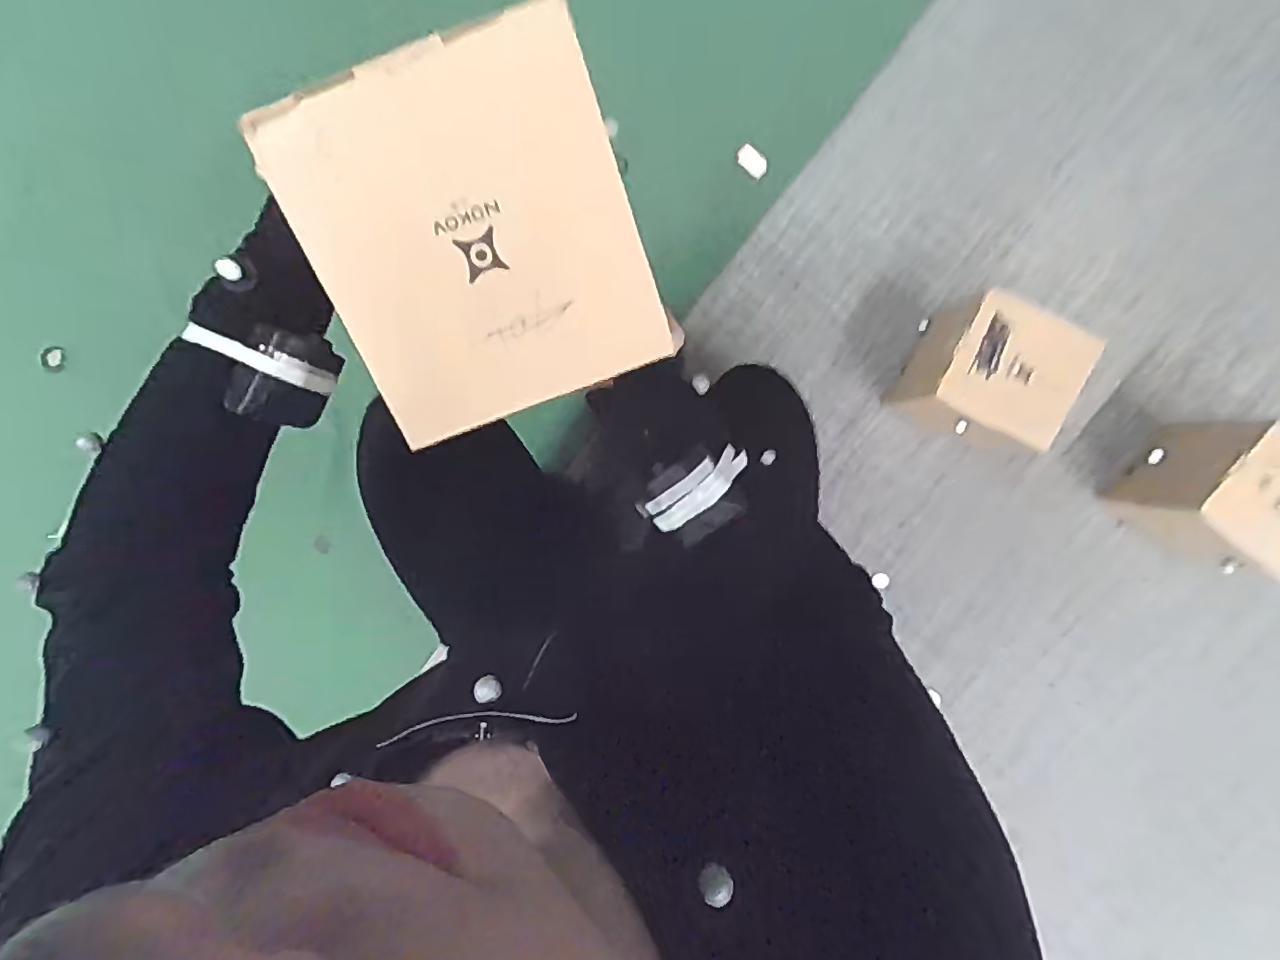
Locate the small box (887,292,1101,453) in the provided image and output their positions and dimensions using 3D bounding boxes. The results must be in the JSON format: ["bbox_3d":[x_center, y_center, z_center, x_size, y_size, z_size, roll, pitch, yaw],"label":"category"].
[{"bbox_3d":[0.508,-0.149,0.808,0.179,0.176,0.168,26,94,-1],"label":"small box"}]

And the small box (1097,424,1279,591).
[{"bbox_3d":[0.862,0.032,0.809,0.179,0.176,0.168,39,93,-1],"label":"small box"}]

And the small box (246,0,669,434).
[{"bbox_3d":[-0.094,-0.154,0.358,0.168,0.176,0.179,-20,112,1],"label":"small box"}]
